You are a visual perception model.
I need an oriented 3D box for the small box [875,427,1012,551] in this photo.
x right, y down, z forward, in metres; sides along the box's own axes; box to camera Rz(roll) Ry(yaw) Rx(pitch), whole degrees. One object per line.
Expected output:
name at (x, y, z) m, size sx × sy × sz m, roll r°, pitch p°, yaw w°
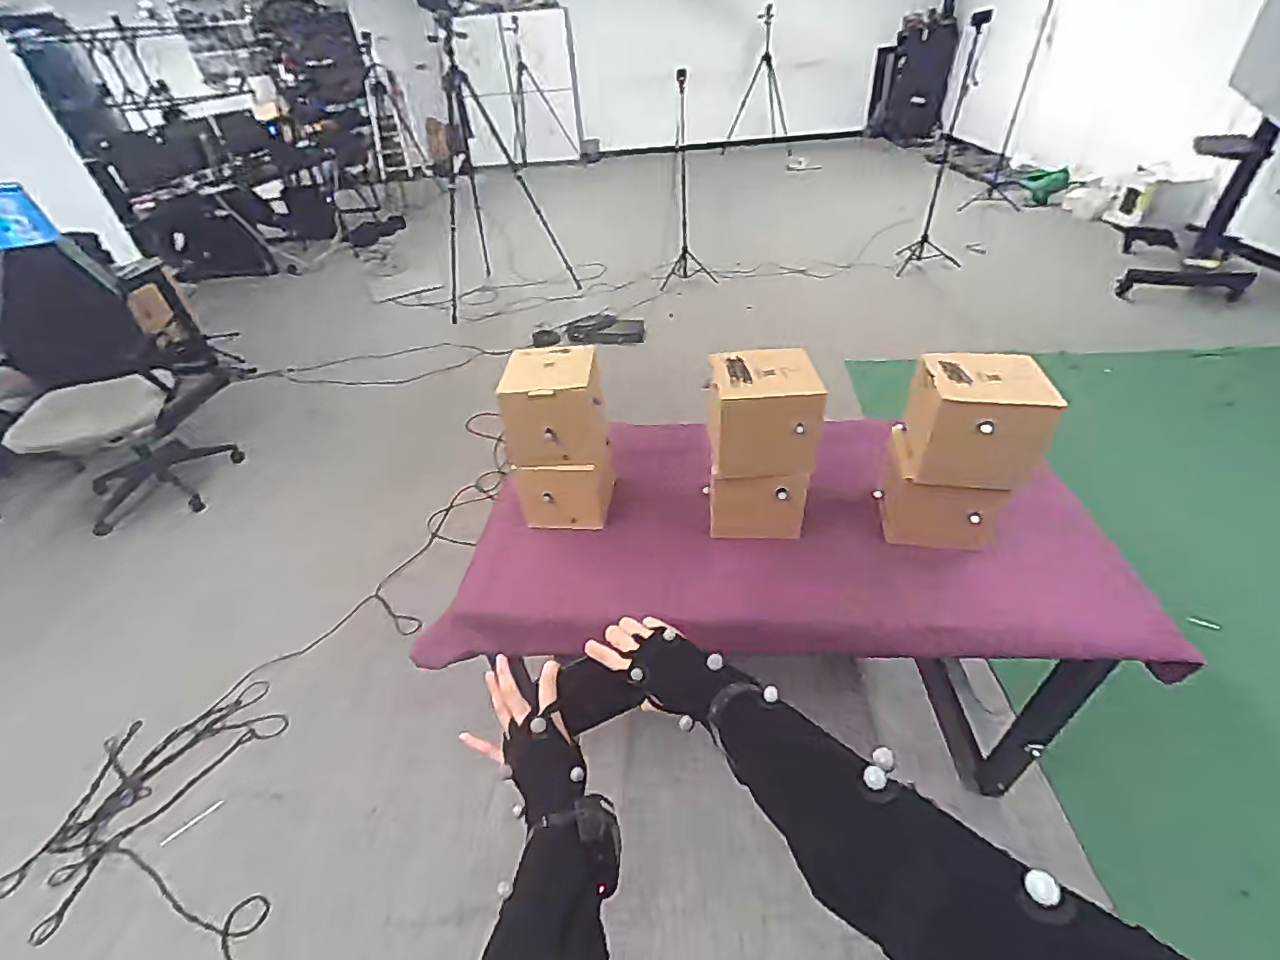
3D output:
small box at (0.567, 0.018, 1.038) m, size 0.179 × 0.176 × 0.168 m, roll 5°, pitch 40°, yaw 12°

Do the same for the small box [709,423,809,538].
small box at (0.232, 0.002, 1.091) m, size 0.179 × 0.176 × 0.168 m, roll 1°, pitch 40°, yaw 7°

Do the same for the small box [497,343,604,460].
small box at (-0.164, -0.150, 1.059) m, size 0.168 × 0.176 × 0.179 m, roll -1°, pitch 40°, yaw 3°

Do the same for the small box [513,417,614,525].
small box at (-0.153, -0.019, 1.158) m, size 0.168 × 0.176 × 0.179 m, roll 2°, pitch 40°, yaw 8°

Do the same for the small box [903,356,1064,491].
small box at (0.564, -0.097, 0.922) m, size 0.179 × 0.176 × 0.168 m, roll 5°, pitch 40°, yaw 11°
